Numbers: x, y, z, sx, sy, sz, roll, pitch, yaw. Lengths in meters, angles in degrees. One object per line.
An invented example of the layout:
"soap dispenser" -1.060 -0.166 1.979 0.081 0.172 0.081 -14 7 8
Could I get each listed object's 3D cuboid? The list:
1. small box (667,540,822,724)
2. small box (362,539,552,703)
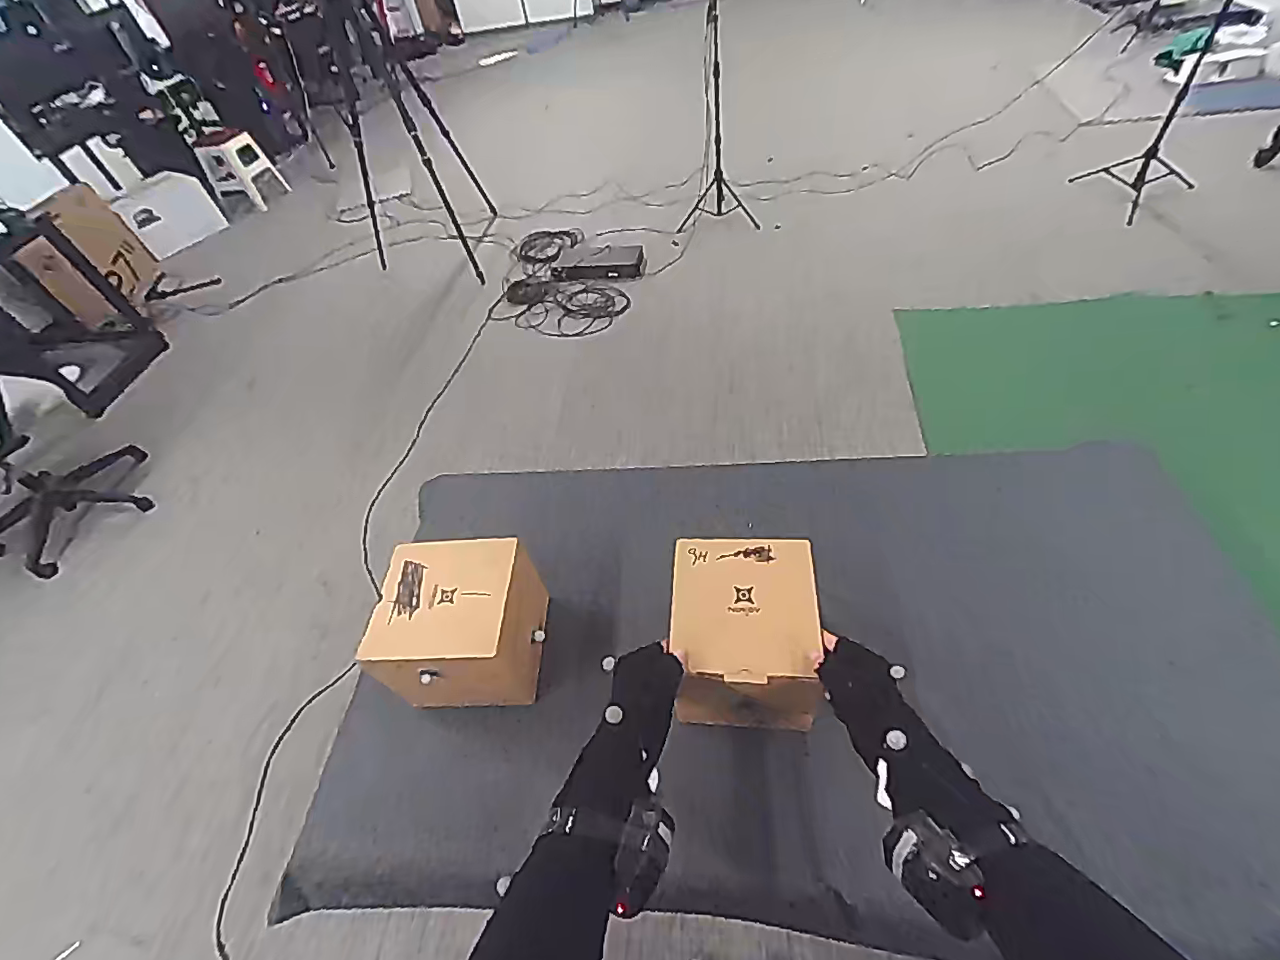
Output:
"small box" 0.130 0.195 0.684 0.168 0.176 0.179 0 50 10
"small box" -0.234 0.198 0.744 0.179 0.176 0.168 -3 50 6
